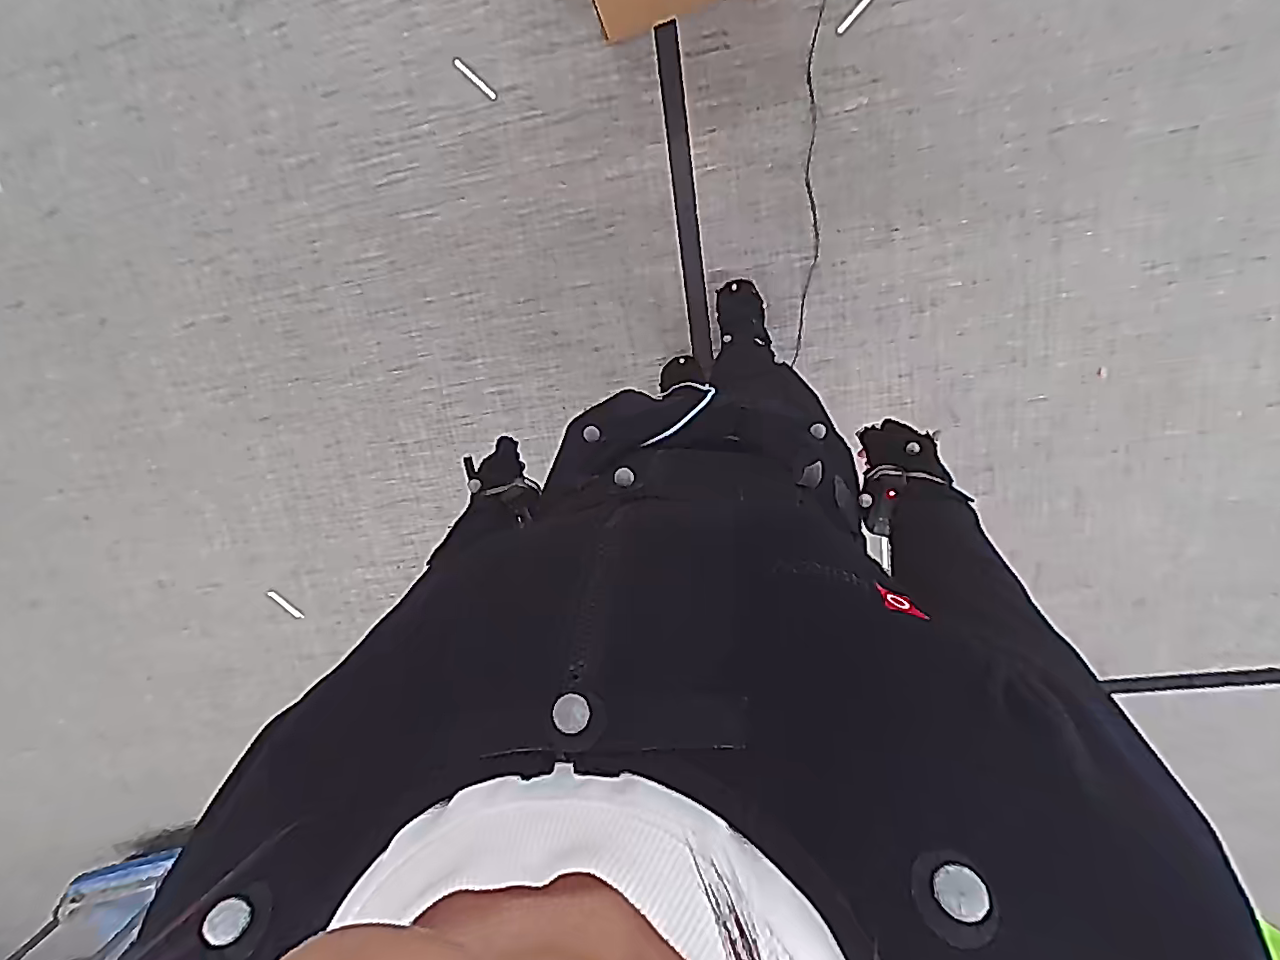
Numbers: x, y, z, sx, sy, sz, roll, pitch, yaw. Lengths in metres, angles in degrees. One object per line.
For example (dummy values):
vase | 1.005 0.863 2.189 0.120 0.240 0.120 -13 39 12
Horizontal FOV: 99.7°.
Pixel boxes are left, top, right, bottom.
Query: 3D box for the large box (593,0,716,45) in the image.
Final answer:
large box | 0.062 -1.114 0.992 0.408 0.320 0.320 -14 102 12
